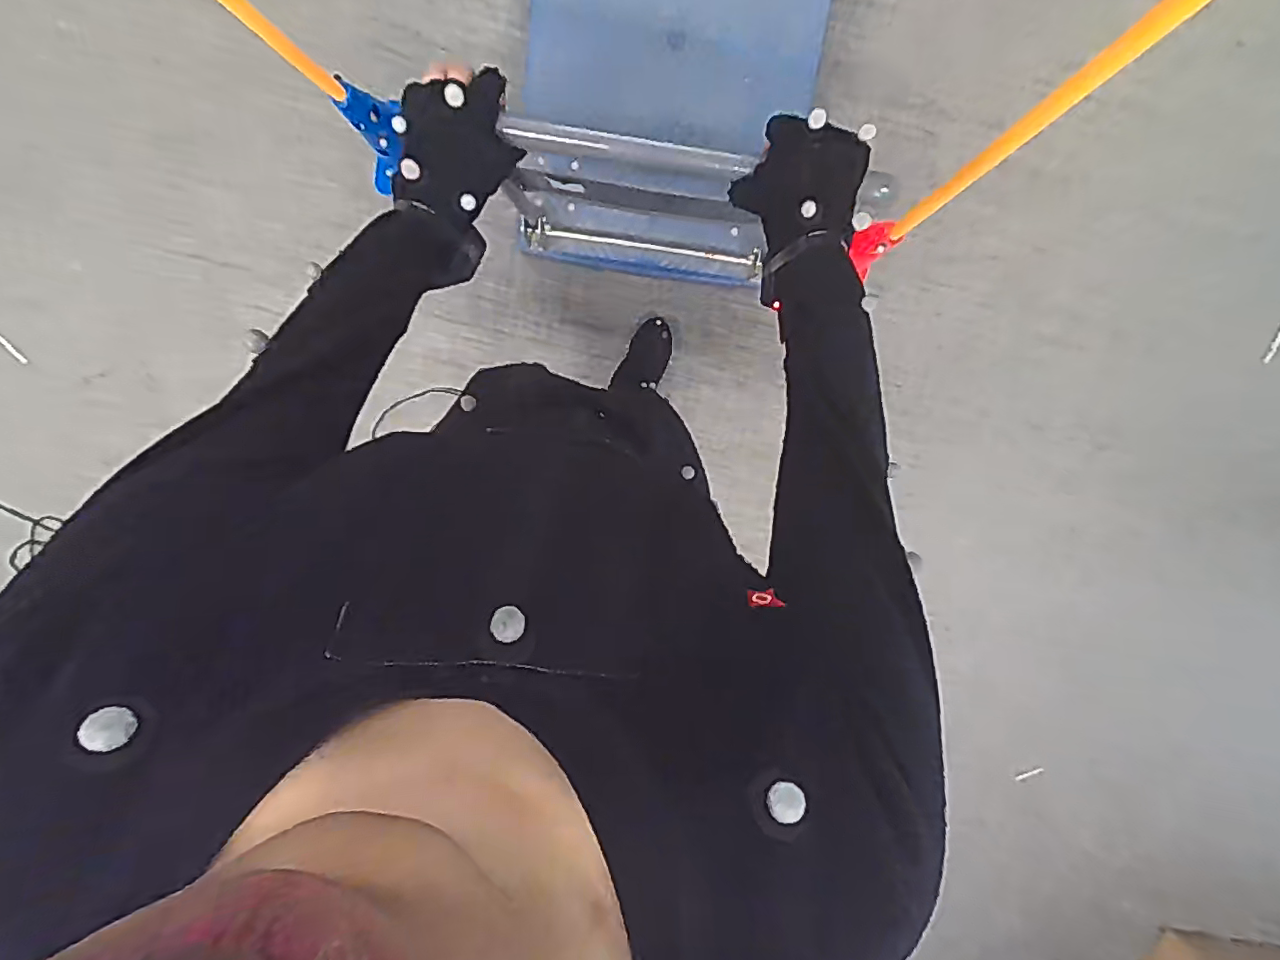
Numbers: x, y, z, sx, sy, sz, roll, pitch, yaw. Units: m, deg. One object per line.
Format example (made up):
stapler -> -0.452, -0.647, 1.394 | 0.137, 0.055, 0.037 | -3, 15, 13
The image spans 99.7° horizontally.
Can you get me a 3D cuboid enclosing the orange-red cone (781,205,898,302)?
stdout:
orange-red cone -> 0.463, -0.515, 1.175 | 0.199, 0.360, 0.198 | 13, 105, -2
